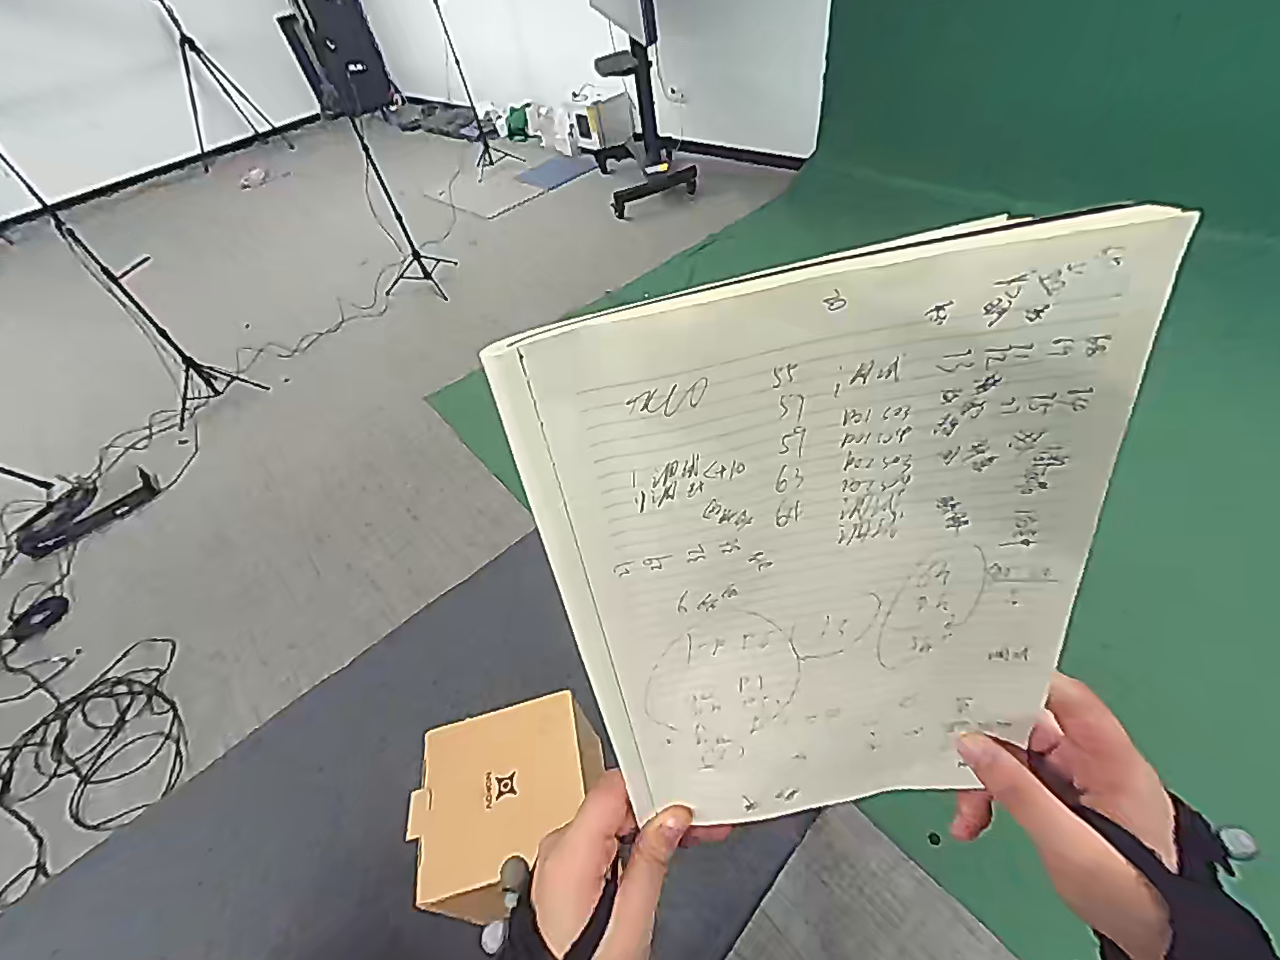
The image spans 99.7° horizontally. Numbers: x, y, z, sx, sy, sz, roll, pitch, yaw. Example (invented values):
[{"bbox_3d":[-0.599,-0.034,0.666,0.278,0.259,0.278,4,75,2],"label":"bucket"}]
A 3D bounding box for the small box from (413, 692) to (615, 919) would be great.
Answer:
[{"bbox_3d":[-0.133,0.373,0.617,0.179,0.176,0.168,-16,46,-2],"label":"small box"}]
